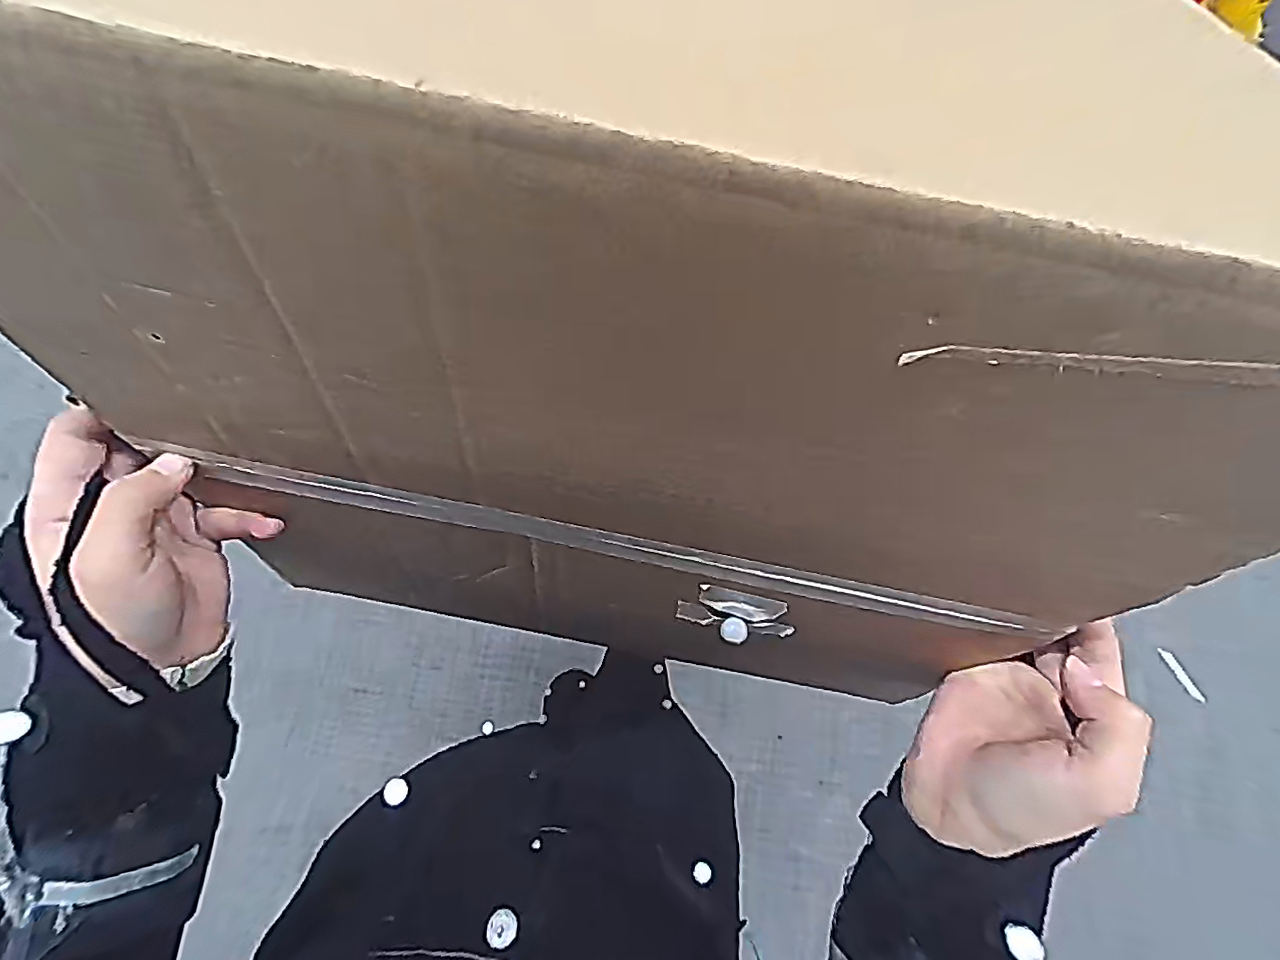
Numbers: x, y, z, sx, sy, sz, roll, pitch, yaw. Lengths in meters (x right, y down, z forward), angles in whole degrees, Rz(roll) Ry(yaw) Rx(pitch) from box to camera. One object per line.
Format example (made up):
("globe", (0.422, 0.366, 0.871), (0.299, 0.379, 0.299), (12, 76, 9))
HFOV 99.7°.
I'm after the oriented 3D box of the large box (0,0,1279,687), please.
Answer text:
("large box", (0.010, -0.101, 0.323), (0.408, 0.320, 0.320), (11, 57, -1))
